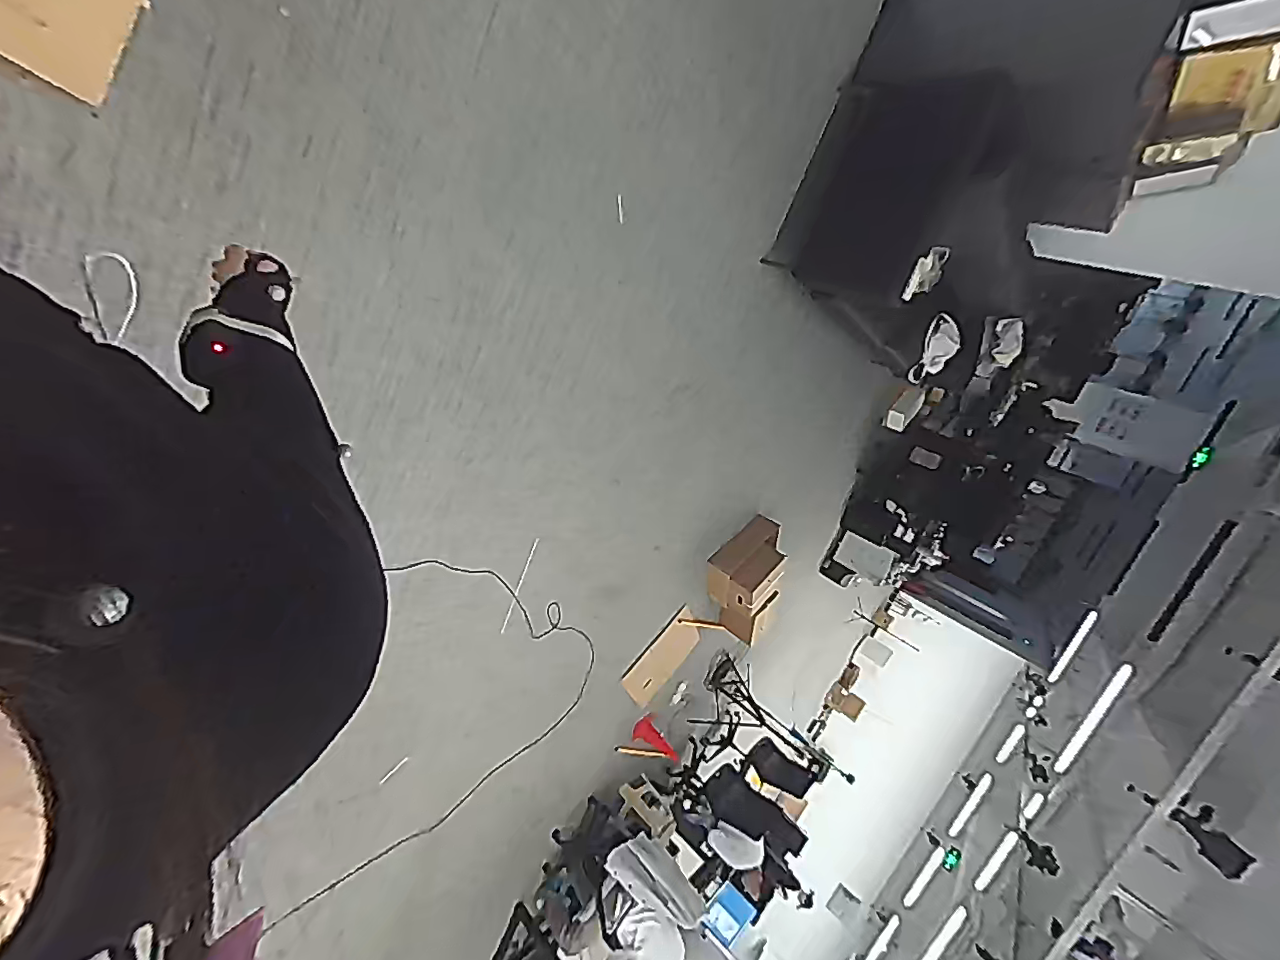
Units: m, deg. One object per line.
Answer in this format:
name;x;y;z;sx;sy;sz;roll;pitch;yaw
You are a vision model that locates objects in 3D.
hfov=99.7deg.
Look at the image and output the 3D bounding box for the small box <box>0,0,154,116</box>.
small box;-0.608;-0.496;0.522;0.168;0.176;0.179;21;98;-56
